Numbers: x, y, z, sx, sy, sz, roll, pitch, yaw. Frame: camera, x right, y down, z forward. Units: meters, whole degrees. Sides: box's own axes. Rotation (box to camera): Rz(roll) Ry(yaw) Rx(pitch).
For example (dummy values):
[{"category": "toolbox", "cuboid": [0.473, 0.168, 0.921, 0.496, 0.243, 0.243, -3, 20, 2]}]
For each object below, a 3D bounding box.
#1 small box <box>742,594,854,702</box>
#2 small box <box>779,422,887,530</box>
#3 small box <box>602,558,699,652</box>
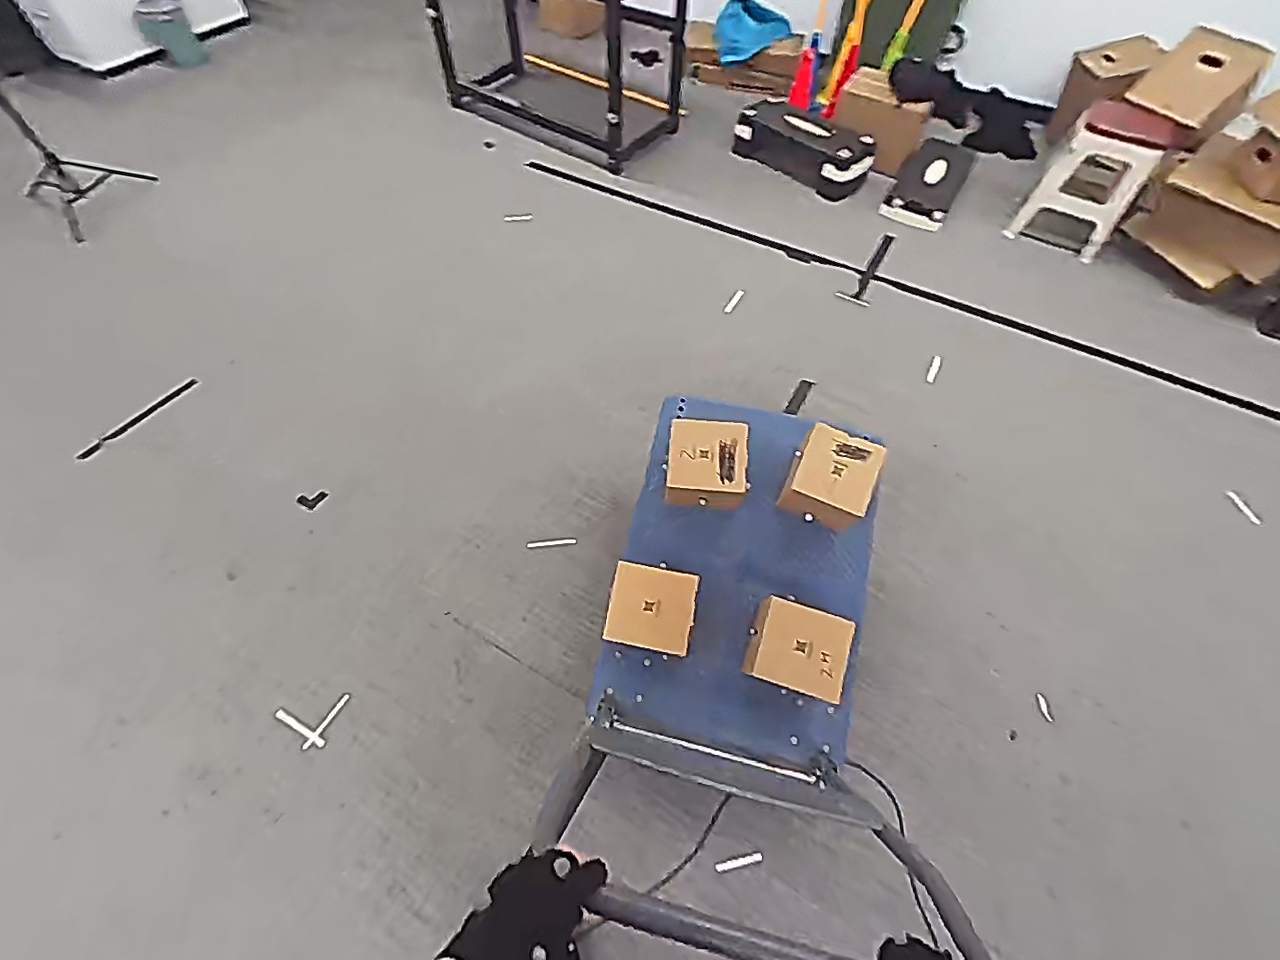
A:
[{"category": "small box", "cuboid": [0.330, 0.359, 1.160, 0.179, 0.176, 0.168, 18, 75, 8]}, {"category": "small box", "cuboid": [0.443, -0.003, 1.267, 0.168, 0.176, 0.179, 24, 76, 9]}, {"category": "small box", "cuboid": [0.024, 0.281, 1.197, 0.179, 0.176, 0.168, 11, 74, 4]}]
